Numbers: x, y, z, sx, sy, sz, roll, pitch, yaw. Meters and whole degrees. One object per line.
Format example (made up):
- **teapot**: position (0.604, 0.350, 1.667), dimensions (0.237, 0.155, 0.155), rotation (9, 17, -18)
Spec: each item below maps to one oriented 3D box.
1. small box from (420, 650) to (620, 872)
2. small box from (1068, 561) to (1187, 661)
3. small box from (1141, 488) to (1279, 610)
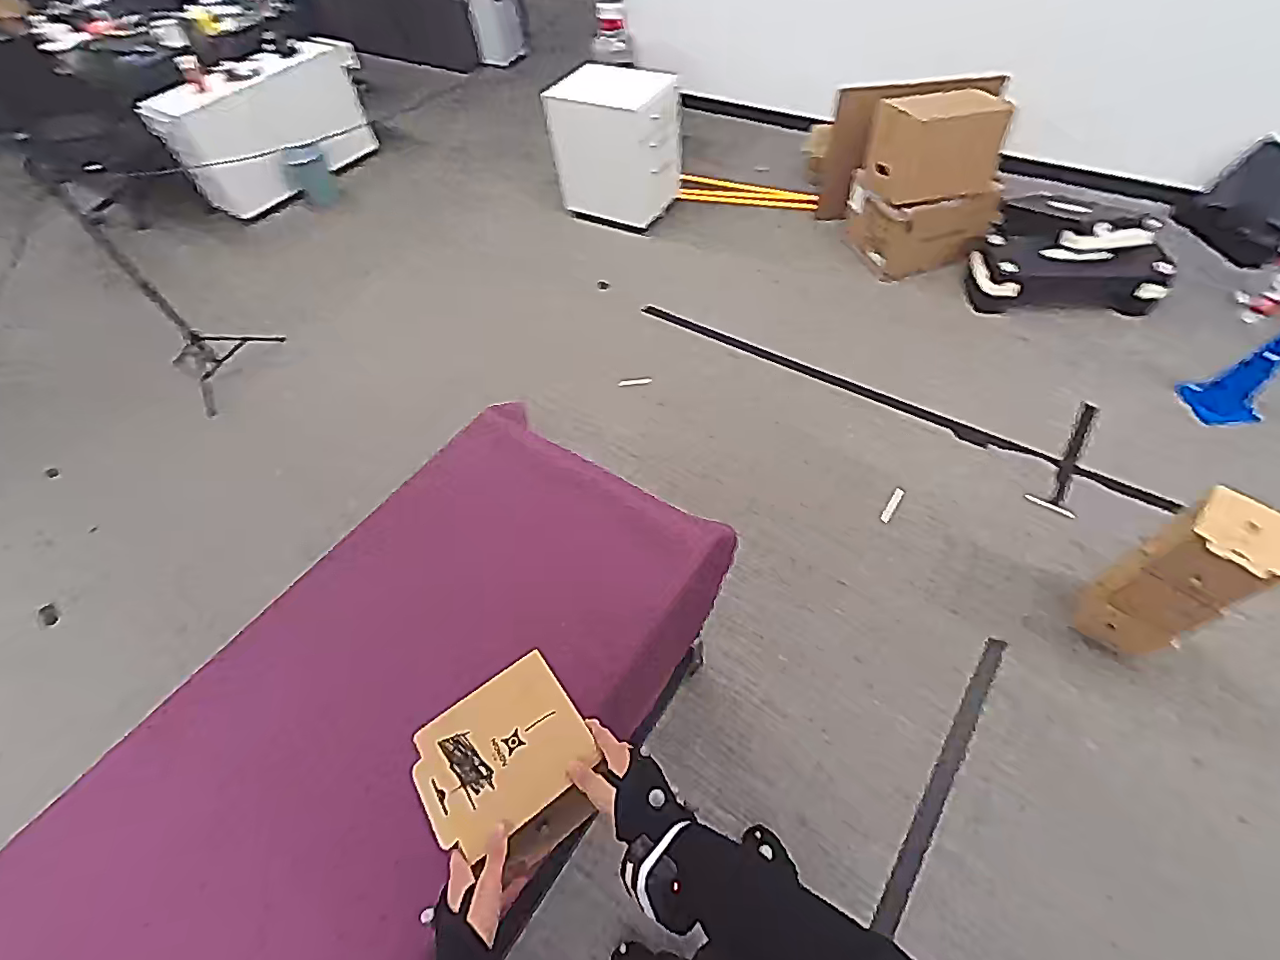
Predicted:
- **small box**: position (-0.143, 0.361, 0.691), dimensions (0.179, 0.176, 0.168), rotation (-31, 53, -19)
- **small box**: position (1.323, 0.363, 1.479), dimensions (0.168, 0.176, 0.179), rotation (33, 63, 25)
- **small box**: position (1.297, 0.158, 1.221), dimensions (0.179, 0.176, 0.168), rotation (-40, 61, -21)
